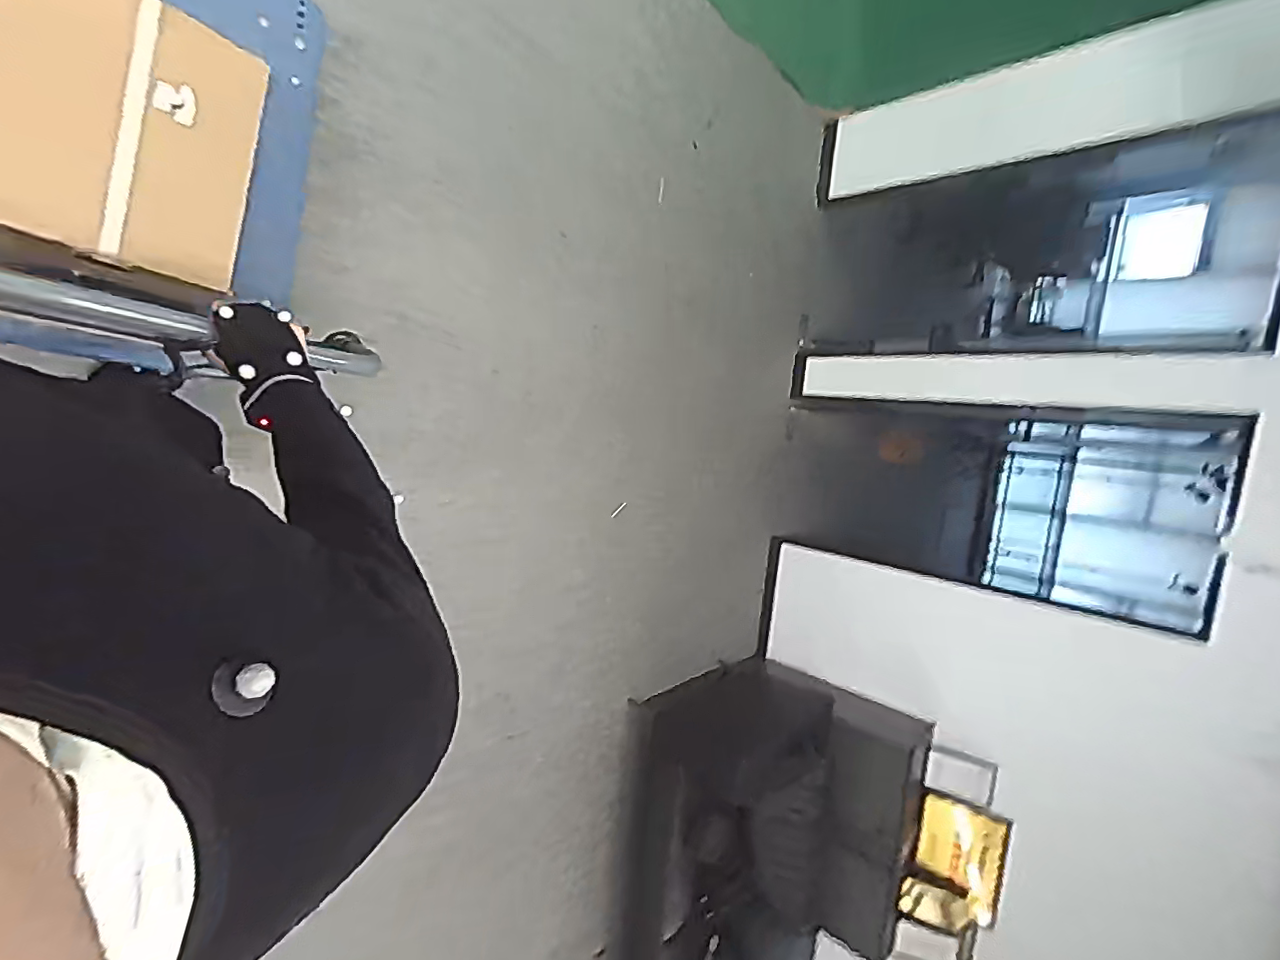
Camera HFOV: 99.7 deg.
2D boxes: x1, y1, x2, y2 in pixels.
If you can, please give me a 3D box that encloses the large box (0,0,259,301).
[{"bbox_3d":[-0.899,-0.563,0.923,0.320,0.320,0.408,9,91,-49],"label":"large box"}]
